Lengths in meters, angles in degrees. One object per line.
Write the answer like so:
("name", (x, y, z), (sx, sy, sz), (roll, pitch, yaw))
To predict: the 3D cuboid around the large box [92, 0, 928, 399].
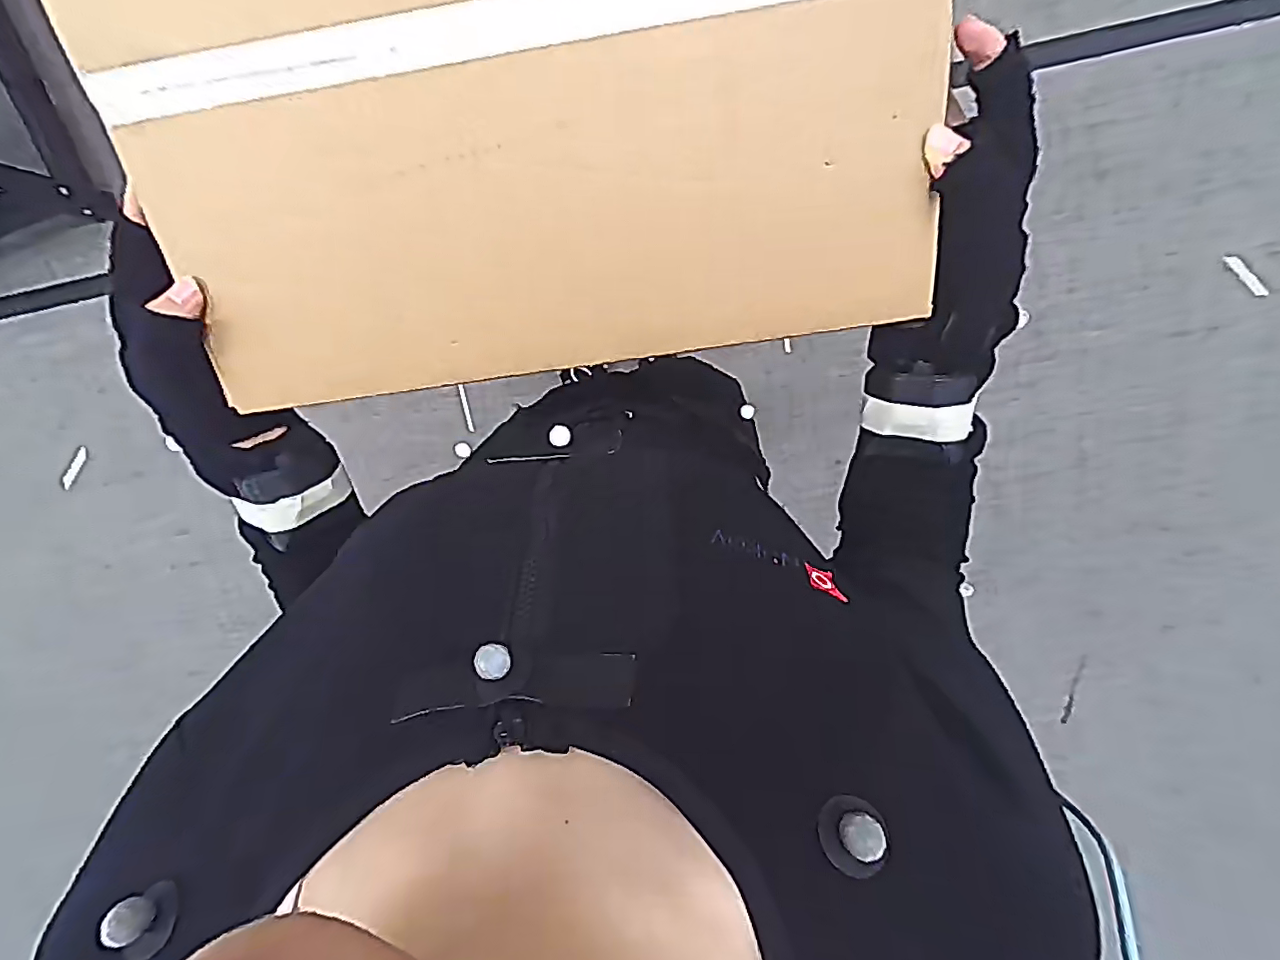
("large box", (-0.062, -0.271, 0.401), (0.408, 0.320, 0.320), (-7, 113, 3))
